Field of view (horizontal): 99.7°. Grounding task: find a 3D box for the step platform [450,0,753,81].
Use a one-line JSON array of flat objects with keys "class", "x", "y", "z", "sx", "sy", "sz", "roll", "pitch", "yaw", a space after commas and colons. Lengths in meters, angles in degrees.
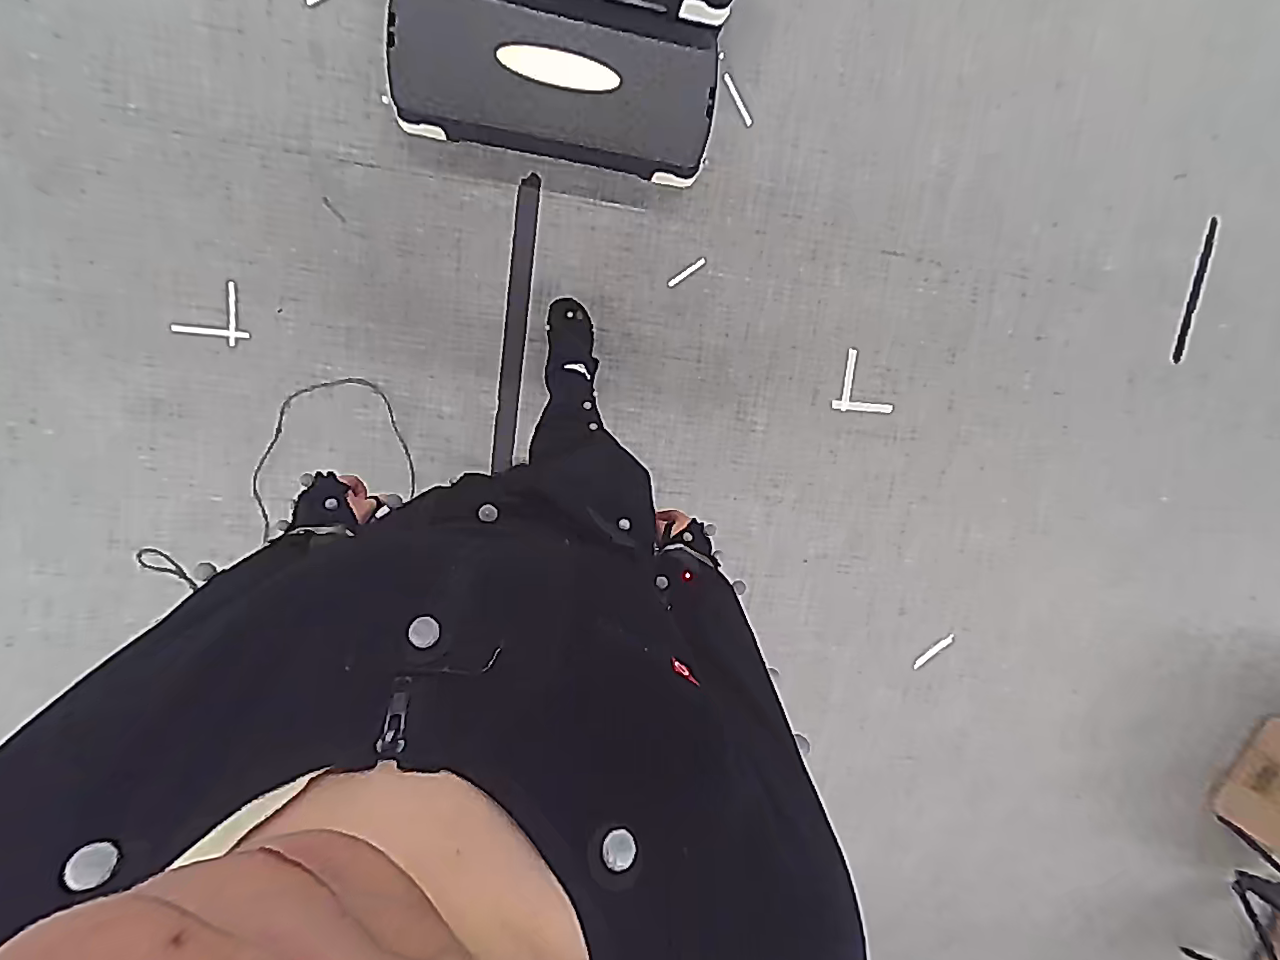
[{"class": "step platform", "x": -0.092, "y": -1.084, "z": 1.079, "sx": 0.684, "sy": 0.204, "sz": 0.286, "roll": 10, "pitch": 98, "yaw": -11}]
